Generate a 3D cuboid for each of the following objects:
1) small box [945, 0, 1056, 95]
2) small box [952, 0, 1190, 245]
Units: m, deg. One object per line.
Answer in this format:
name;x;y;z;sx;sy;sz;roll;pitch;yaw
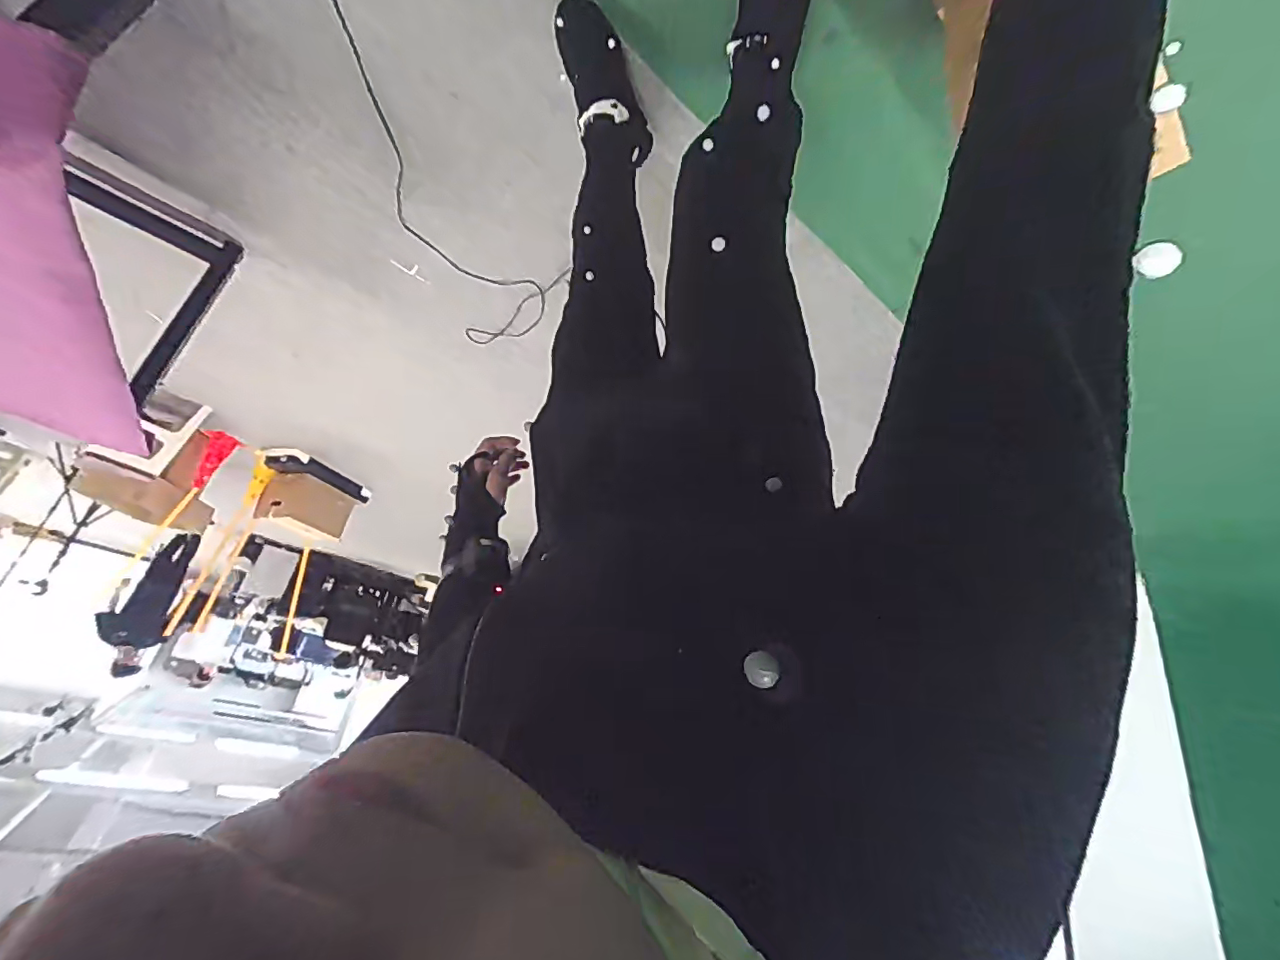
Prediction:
small box;0.522;-0.573;0.699;0.168;0.176;0.179;27;154;-32
small box;0.489;-0.426;0.630;0.168;0.176;0.179;28;152;-32
